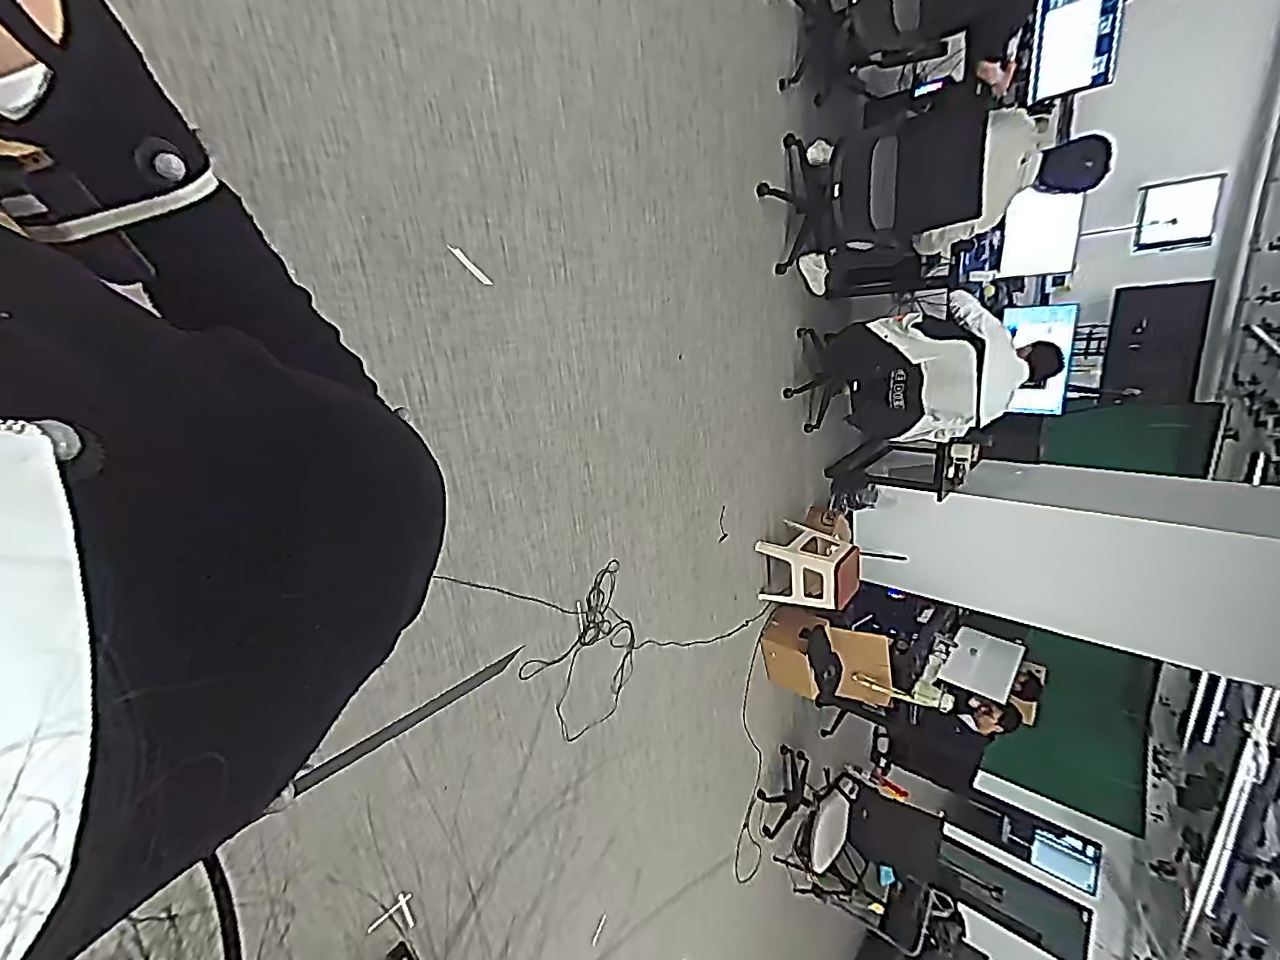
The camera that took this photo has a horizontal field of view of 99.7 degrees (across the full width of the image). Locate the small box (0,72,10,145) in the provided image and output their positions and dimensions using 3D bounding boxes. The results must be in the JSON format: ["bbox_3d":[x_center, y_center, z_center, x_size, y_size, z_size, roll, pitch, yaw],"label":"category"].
[{"bbox_3d":[-0.650,-0.390,0.428,0.168,0.176,0.179,-16,112,-48],"label":"small box"}]

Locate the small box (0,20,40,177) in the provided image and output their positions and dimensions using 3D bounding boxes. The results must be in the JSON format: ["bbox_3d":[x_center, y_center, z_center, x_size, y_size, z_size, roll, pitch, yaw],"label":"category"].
[{"bbox_3d":[-0.764,-0.421,0.545,0.179,0.176,0.168,-21,114,-46],"label":"small box"}]
